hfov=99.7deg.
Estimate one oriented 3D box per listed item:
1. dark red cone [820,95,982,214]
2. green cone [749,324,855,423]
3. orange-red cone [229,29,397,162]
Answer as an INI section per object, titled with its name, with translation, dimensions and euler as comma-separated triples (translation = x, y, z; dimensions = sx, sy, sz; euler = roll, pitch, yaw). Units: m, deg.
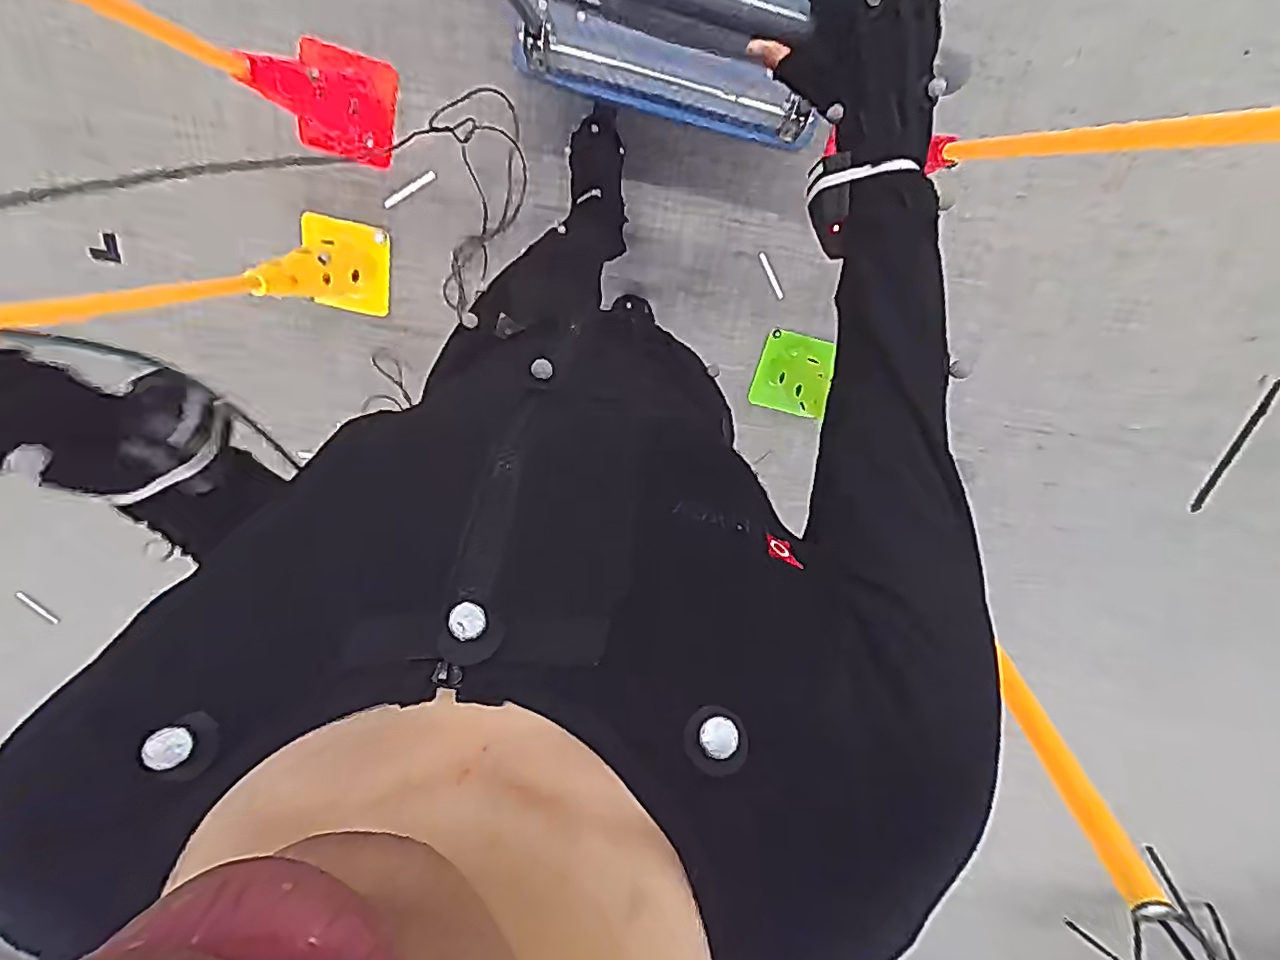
[dark red cone]
translation = 0.509, -0.627, 1.020
dimensions = 0.201, 0.394, 0.202
euler = 8, 116, -6
[green cone]
translation = 0.405, -0.210, 1.247
dimensions = 0.202, 0.368, 0.200
euler = 12, 116, -7
[orange-red cone]
translation = -0.619, -0.734, 0.989
dimensions = 0.198, 0.360, 0.199
euler = 15, 114, -9
